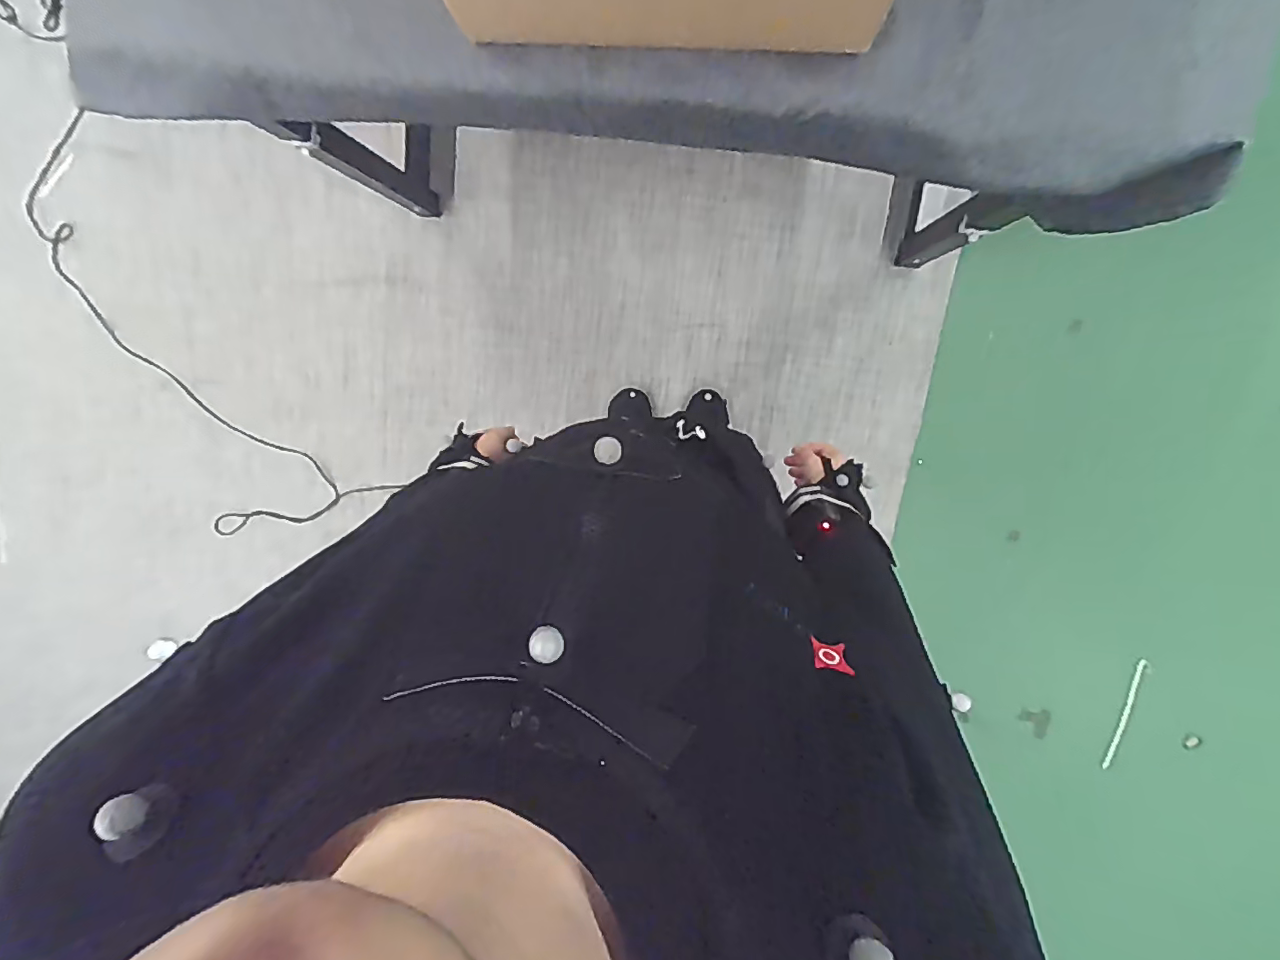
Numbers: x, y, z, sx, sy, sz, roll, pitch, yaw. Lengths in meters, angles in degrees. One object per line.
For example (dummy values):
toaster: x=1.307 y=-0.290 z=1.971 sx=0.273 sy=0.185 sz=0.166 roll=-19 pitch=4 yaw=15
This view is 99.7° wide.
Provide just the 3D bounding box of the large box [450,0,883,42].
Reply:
large box: x=0.018 y=-0.562 z=0.369 sx=0.408 sy=0.320 sz=0.320 roll=4 pitch=101 yaw=4
